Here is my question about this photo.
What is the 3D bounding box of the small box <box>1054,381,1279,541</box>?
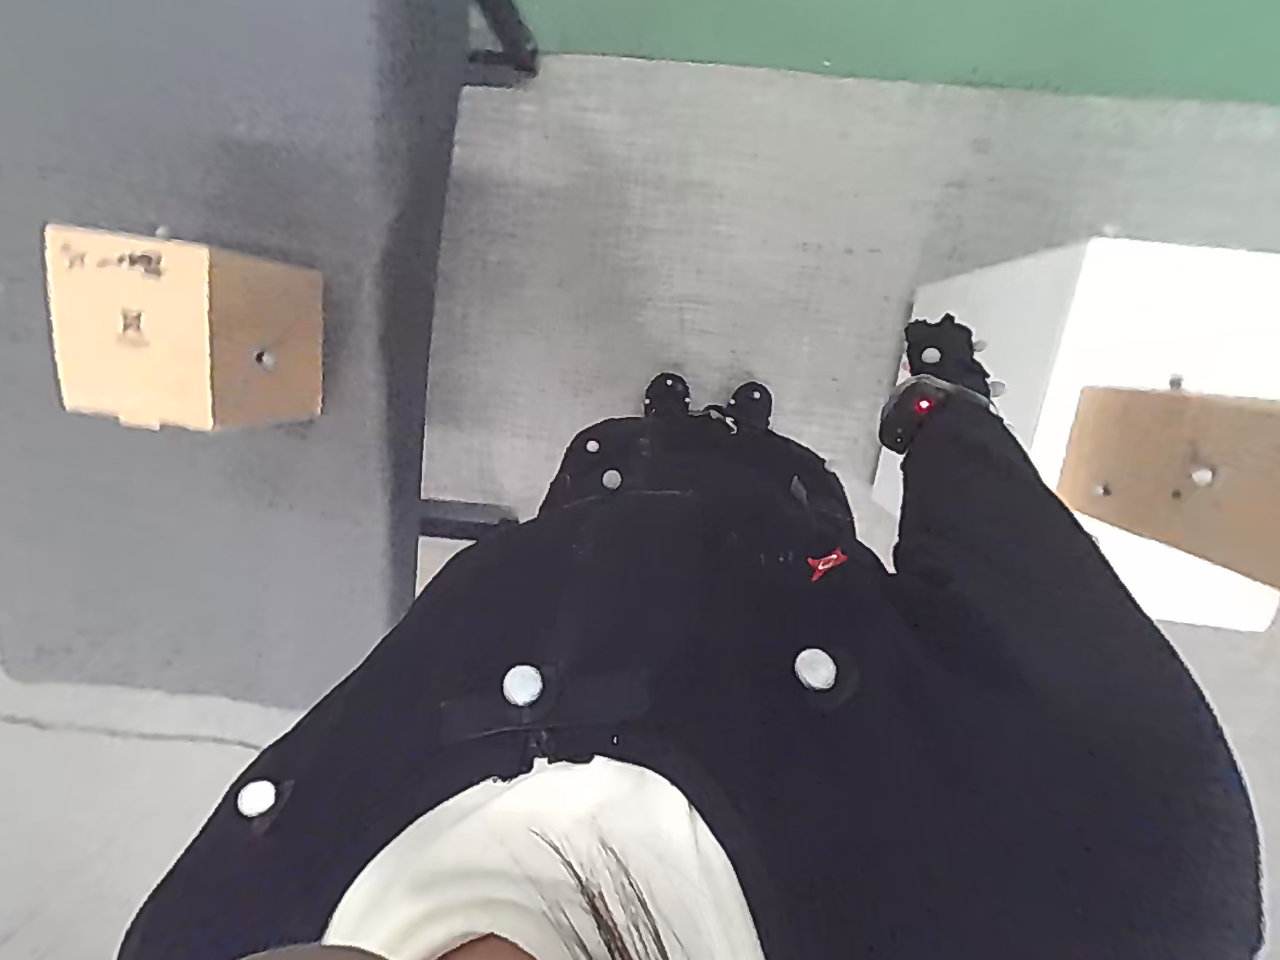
[{"bbox_3d":[0.666,-0.027,0.675,0.168,0.176,0.179,3,103,3],"label":"small box"}]

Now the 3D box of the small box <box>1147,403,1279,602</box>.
[{"bbox_3d":[0.661,0.018,0.517,0.179,0.176,0.168,1,105,2],"label":"small box"}]

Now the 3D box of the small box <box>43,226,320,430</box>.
[{"bbox_3d":[-0.488,-0.165,0.605,0.168,0.176,0.179,9,104,3],"label":"small box"}]
